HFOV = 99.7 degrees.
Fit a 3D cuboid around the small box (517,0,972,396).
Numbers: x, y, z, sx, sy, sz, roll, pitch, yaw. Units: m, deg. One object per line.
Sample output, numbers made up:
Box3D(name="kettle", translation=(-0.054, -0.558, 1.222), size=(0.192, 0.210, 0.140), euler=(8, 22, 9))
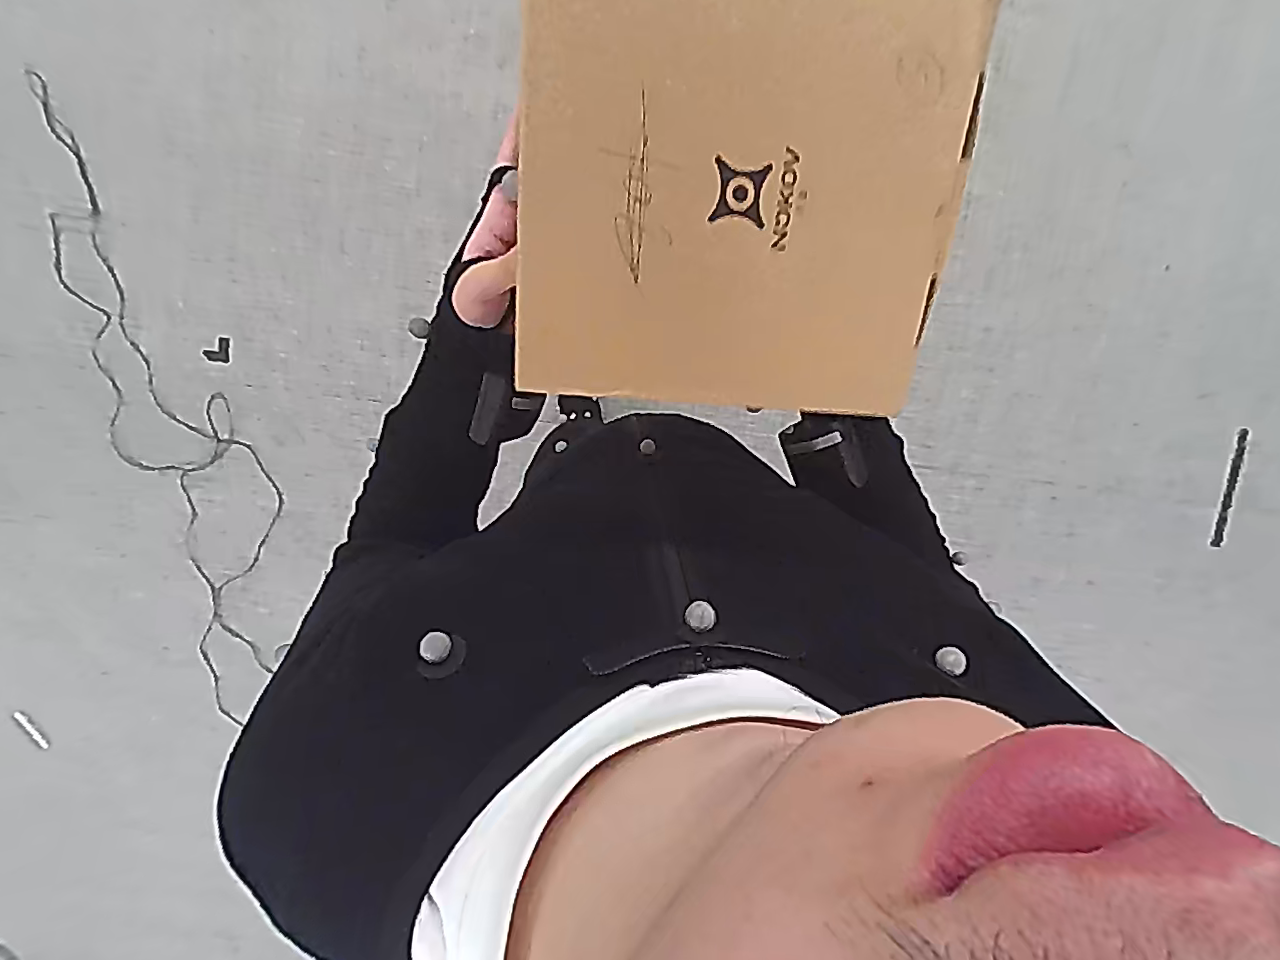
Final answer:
Box3D(name="small box", translation=(0.028, -0.143, 0.295), size=(0.179, 0.176, 0.168), euler=(2, 106, -8))
